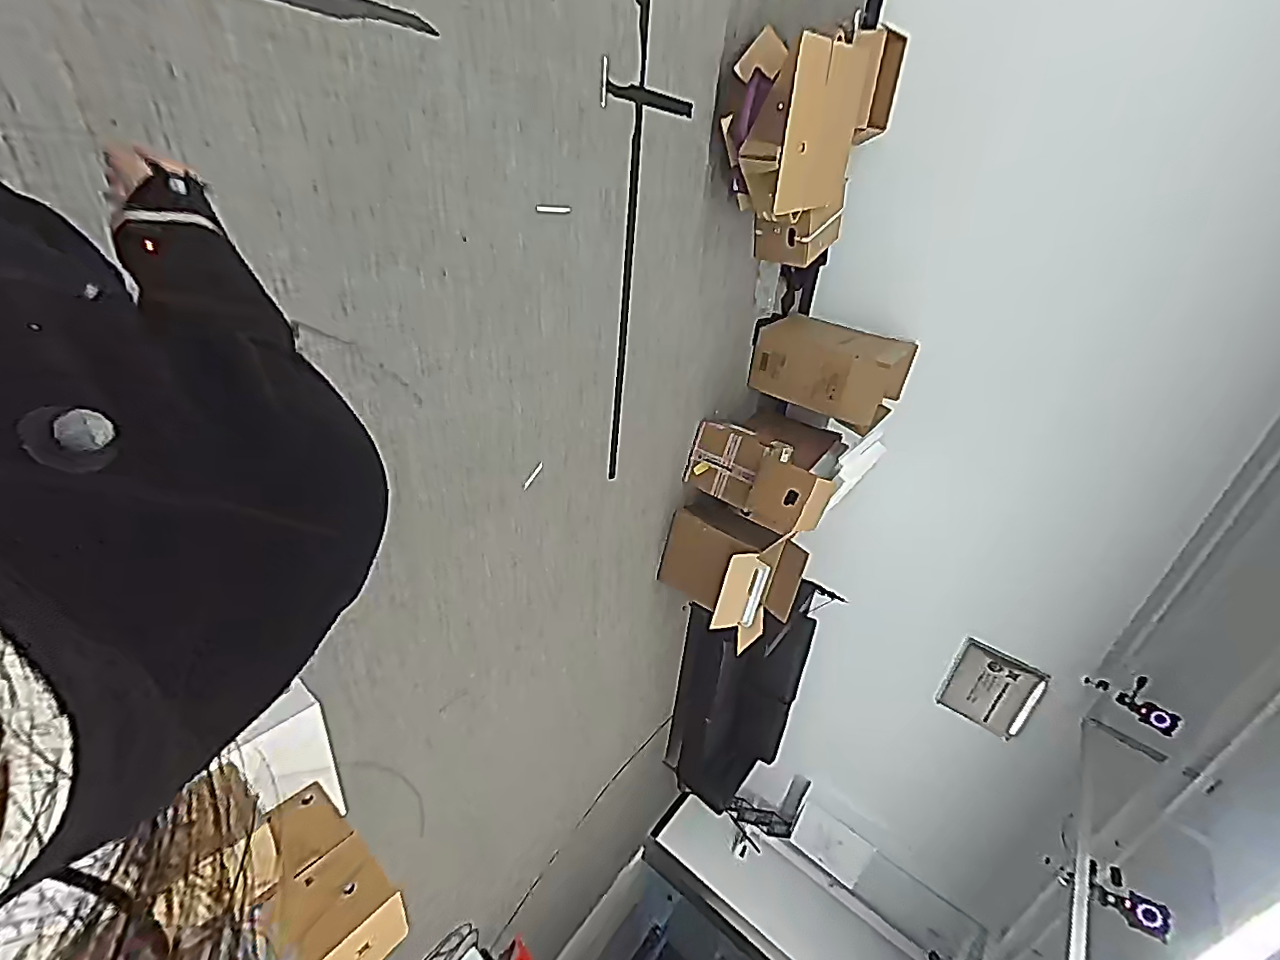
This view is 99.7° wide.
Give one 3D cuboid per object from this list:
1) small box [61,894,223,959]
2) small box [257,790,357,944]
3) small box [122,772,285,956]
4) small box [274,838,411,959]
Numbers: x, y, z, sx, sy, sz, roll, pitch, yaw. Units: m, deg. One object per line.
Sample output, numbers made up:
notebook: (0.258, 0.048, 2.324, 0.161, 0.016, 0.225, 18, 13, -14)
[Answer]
small box: (-0.859, 0.861, 0.950, 0.168, 0.176, 0.179, -28, 132, -48)
small box: (-0.707, 0.791, 1.128, 0.168, 0.176, 0.179, -25, 132, -47)
small box: (-0.760, 0.653, 0.947, 0.168, 0.176, 0.179, -24, 131, -48)
small box: (-0.576, 0.846, 1.051, 0.168, 0.176, 0.179, -28, 133, -45)
